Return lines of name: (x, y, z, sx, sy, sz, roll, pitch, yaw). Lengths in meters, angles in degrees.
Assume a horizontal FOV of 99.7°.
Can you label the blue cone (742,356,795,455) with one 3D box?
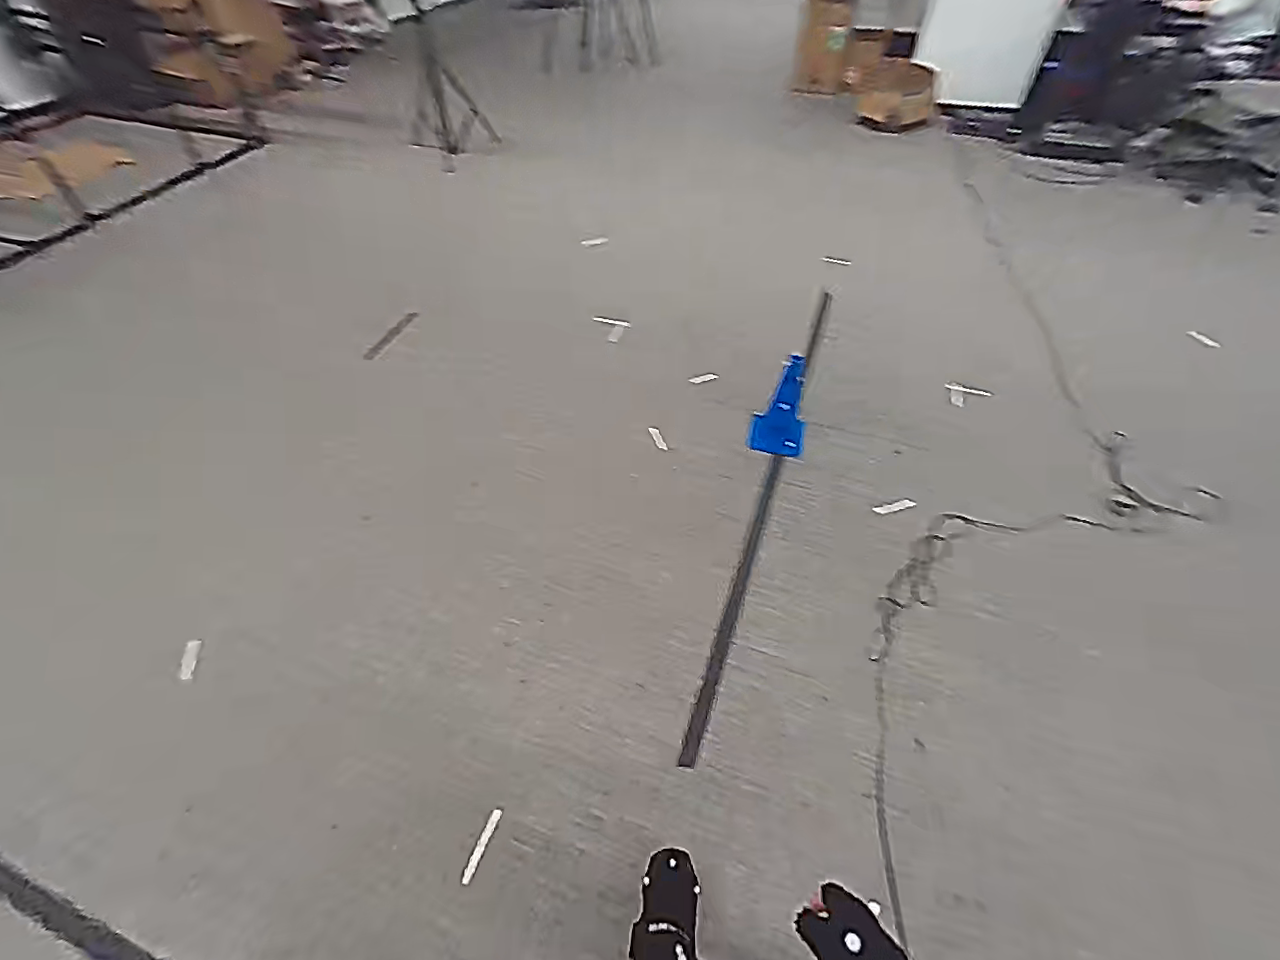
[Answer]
blue cone: (0.488, -0.277, 1.934, 0.192, 0.380, 0.193, 12, 50, 12)
